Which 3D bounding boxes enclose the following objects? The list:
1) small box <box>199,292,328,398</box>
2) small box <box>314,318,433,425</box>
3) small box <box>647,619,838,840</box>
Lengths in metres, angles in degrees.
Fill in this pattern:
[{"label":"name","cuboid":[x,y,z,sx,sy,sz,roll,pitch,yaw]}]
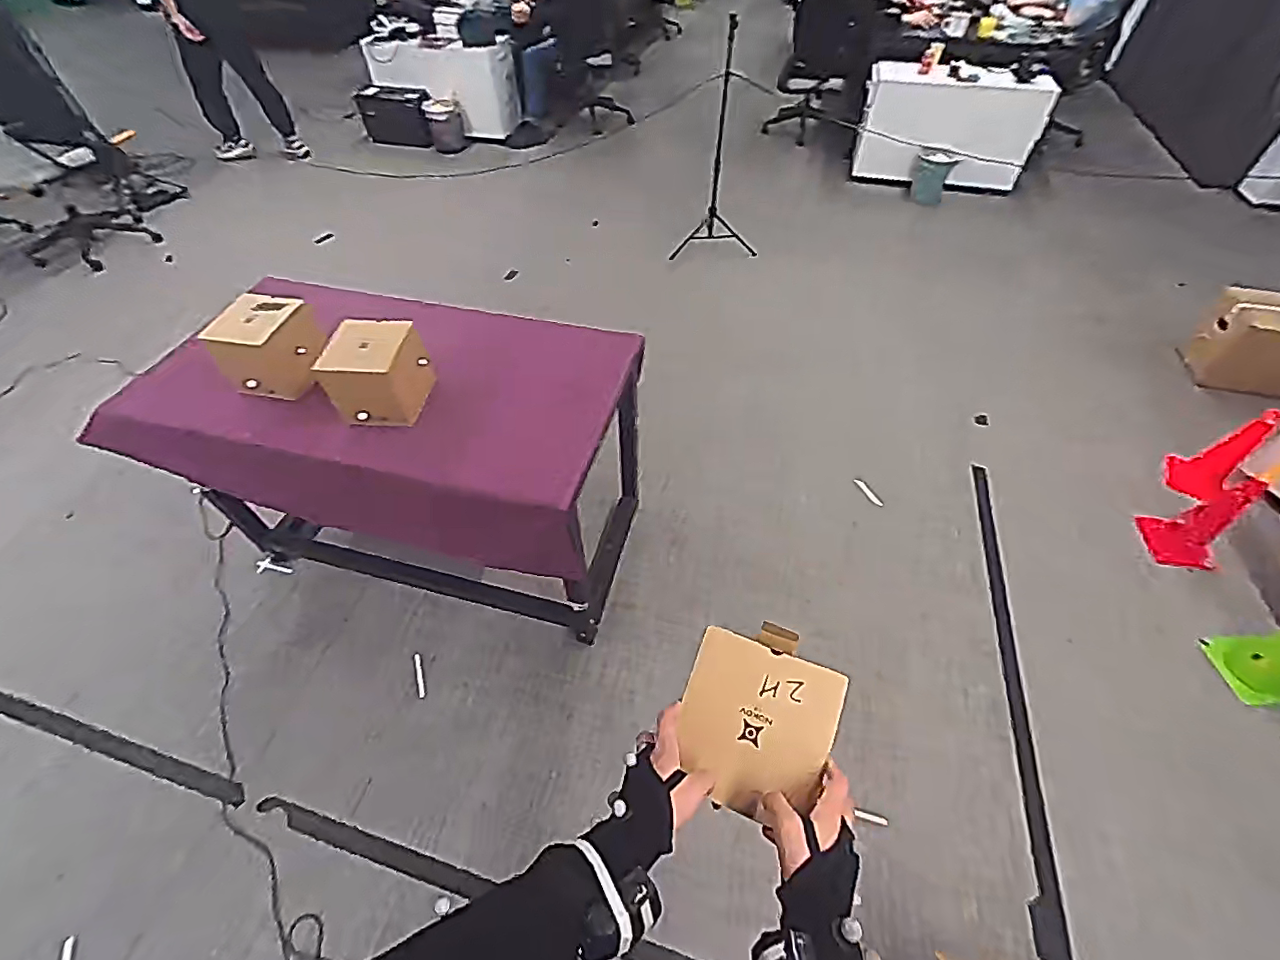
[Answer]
[{"label":"small box","cuboid":[-0.883,-0.325,1.302,0.168,0.176,0.179,9,52,8]},{"label":"small box","cuboid":[-0.594,-0.248,1.238,0.168,0.176,0.179,3,51,4]},{"label":"small box","cuboid":[0.121,0.293,0.660,0.168,0.176,0.179,18,70,12]}]
